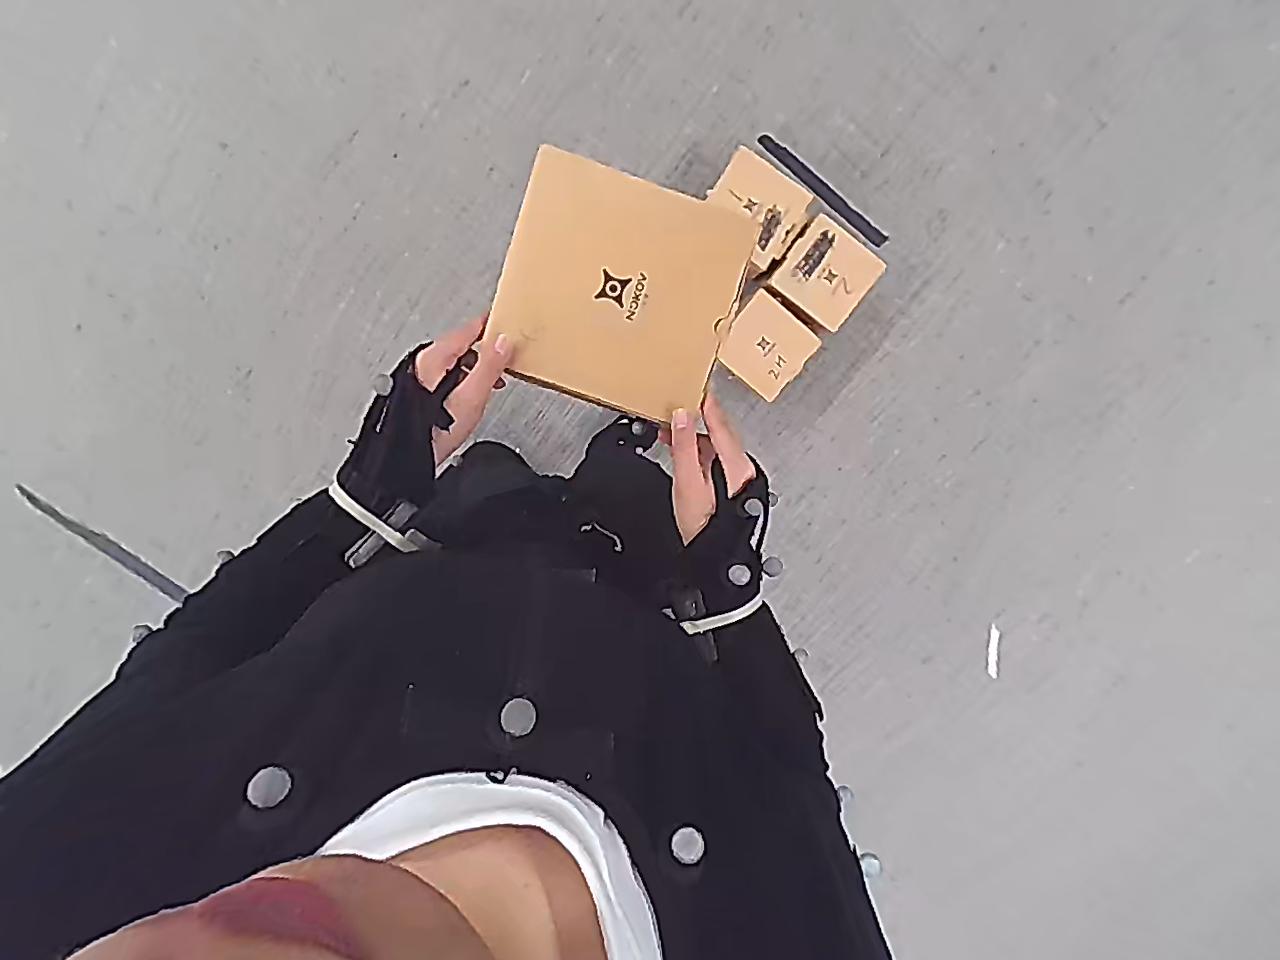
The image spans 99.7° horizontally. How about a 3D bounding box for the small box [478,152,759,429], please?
[{"bbox_3d":[-0.019,-0.147,0.487,0.179,0.176,0.168,18,95,-3],"label":"small box"}]
